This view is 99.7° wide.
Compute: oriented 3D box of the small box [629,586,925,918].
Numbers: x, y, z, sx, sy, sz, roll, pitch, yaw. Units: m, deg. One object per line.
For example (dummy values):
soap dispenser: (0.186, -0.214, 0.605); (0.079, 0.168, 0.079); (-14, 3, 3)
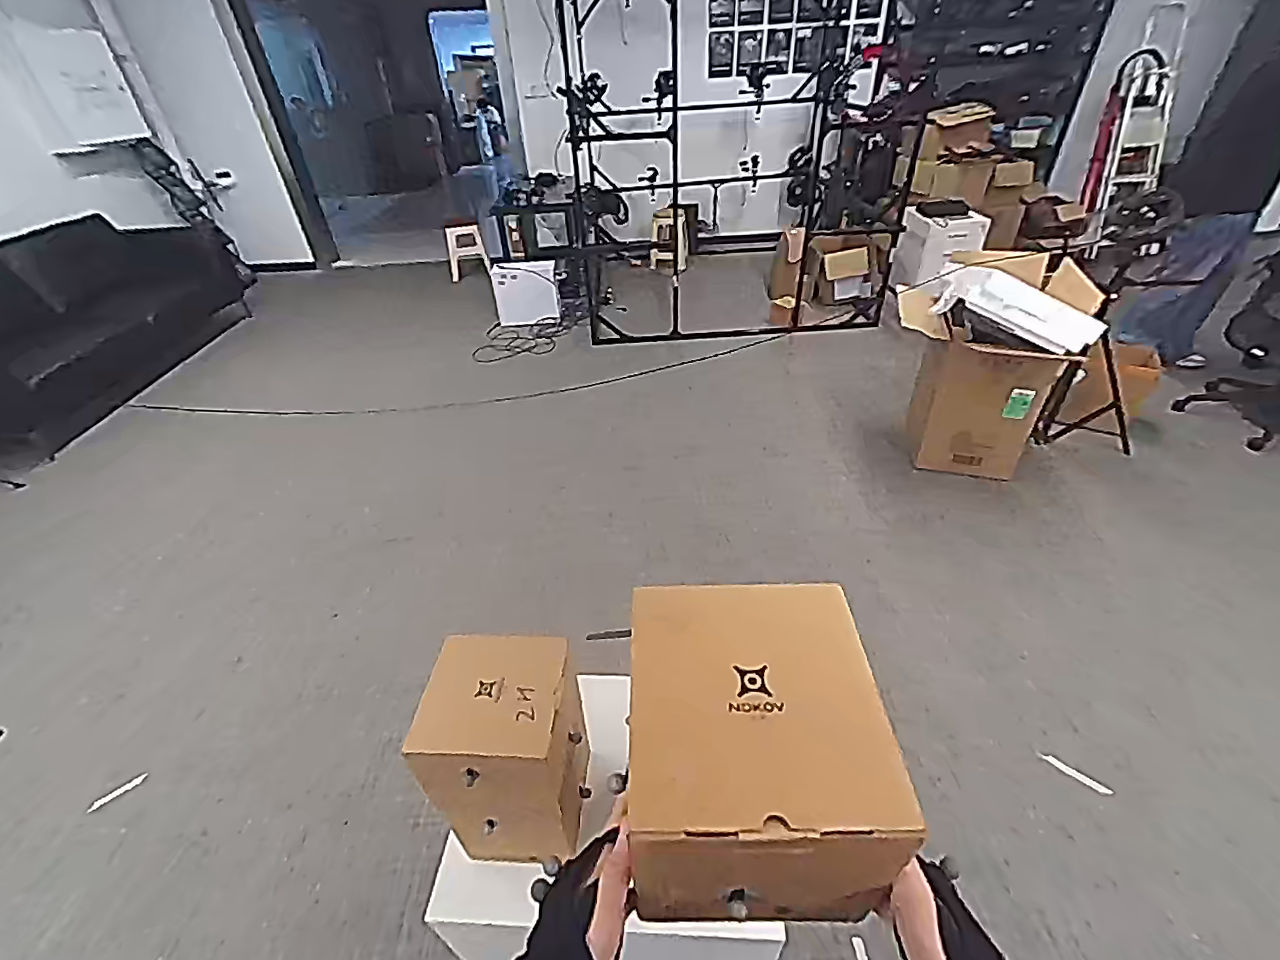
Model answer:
small box: (0.076, 0.201, 0.411); (0.168, 0.176, 0.179); (-1, 40, 1)

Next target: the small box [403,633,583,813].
small box: (-0.182, 0.328, 0.732); (0.179, 0.176, 0.168); (0, 39, 4)

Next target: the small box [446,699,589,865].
small box: (-0.174, 0.457, 0.835); (0.168, 0.176, 0.179); (0, 37, 5)
